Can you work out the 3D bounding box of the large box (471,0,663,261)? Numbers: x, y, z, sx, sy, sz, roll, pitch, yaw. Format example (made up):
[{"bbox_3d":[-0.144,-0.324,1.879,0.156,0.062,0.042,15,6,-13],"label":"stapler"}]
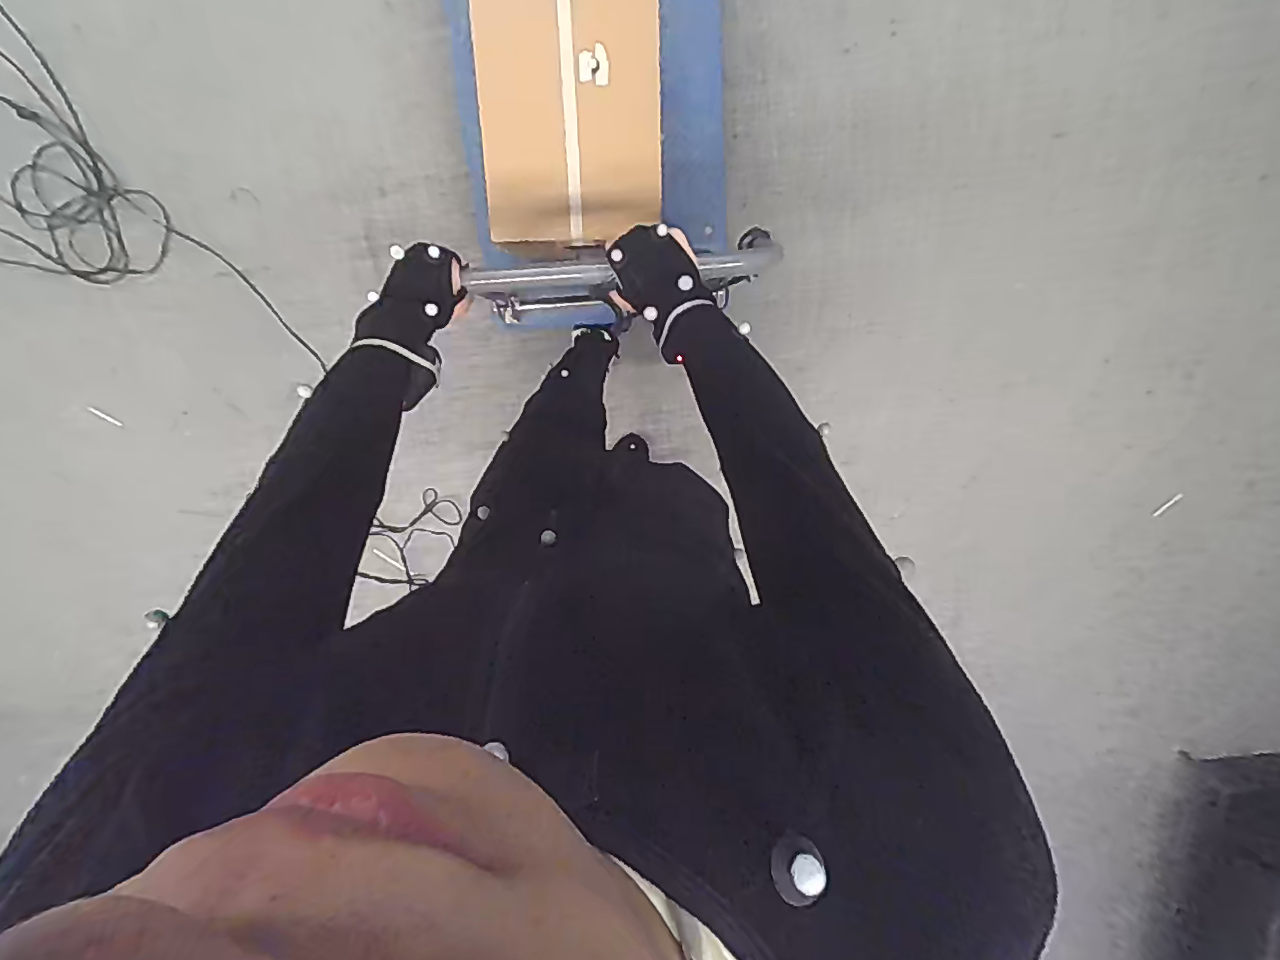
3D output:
[{"bbox_3d":[-0.119,-0.672,1.078,0.320,0.320,0.408,-1,106,0],"label":"large box"}]
